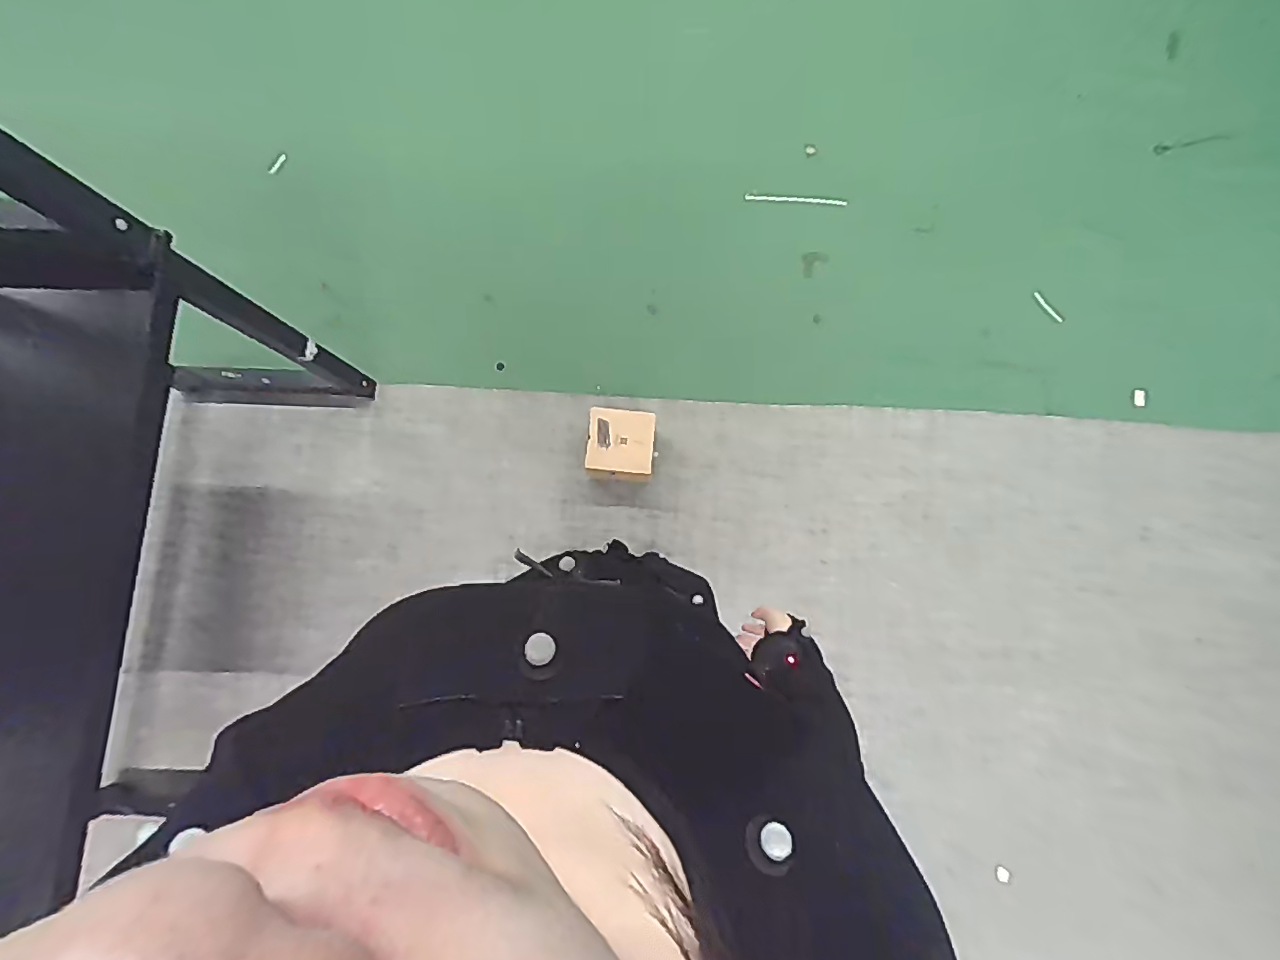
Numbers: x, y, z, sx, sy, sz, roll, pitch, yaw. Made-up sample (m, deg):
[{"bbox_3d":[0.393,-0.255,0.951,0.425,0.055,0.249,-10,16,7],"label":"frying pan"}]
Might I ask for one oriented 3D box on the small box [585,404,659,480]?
[{"bbox_3d":[-0.045,-0.097,1.467,0.179,0.176,0.168,6,83,0],"label":"small box"}]
